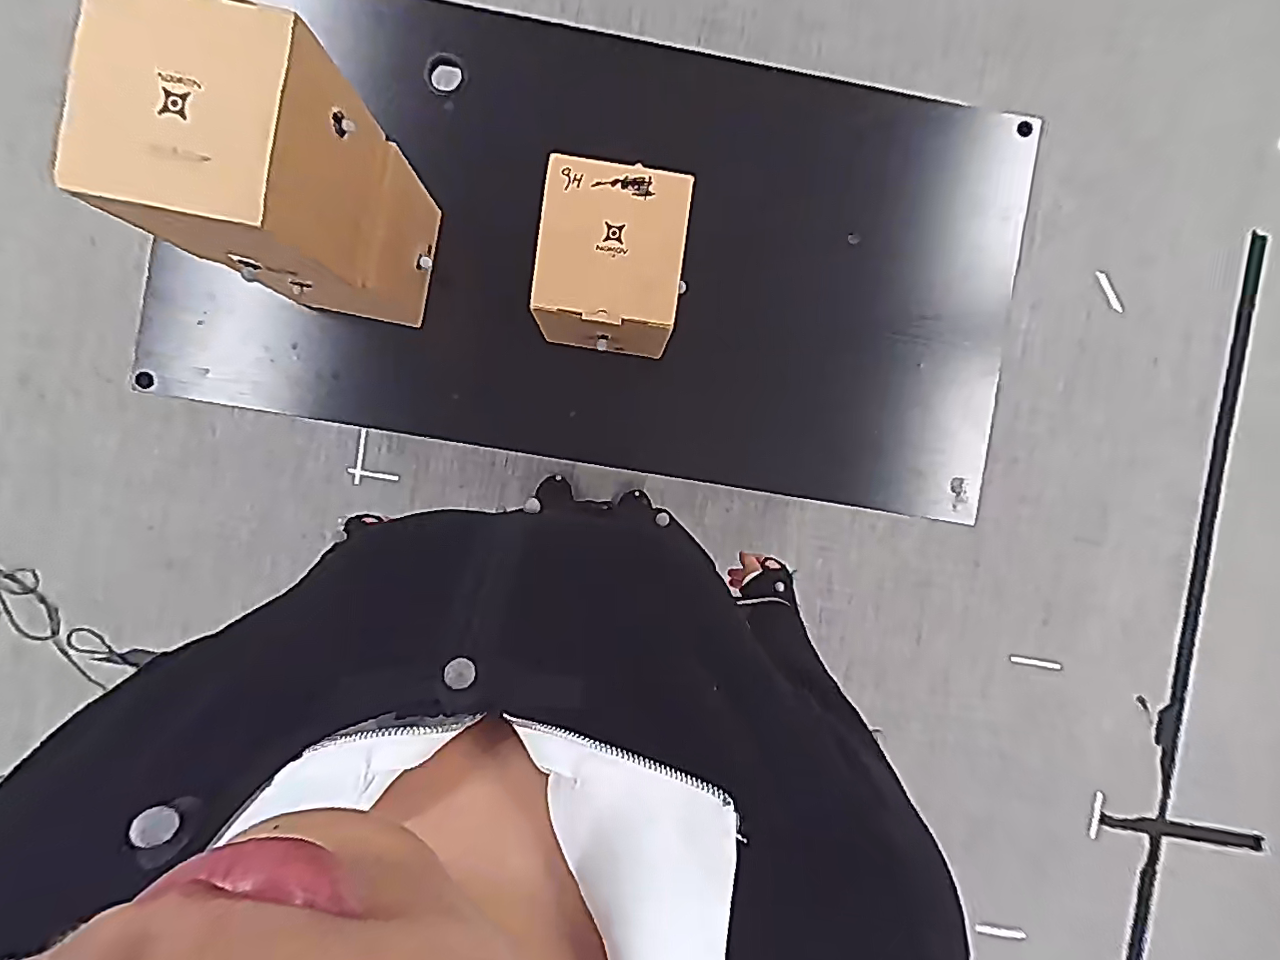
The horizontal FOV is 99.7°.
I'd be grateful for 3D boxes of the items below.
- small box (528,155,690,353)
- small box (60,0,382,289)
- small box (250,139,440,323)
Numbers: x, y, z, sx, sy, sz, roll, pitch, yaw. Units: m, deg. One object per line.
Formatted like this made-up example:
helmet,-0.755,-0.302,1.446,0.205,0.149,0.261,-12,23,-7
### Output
small box,-0.037,-0.271,0.691,0.168,0.176,0.179,8,91,-3
small box,-0.367,-0.305,0.510,0.168,0.176,0.179,9,91,-2
small box,-0.373,-0.308,0.672,0.179,0.176,0.168,11,90,-4
